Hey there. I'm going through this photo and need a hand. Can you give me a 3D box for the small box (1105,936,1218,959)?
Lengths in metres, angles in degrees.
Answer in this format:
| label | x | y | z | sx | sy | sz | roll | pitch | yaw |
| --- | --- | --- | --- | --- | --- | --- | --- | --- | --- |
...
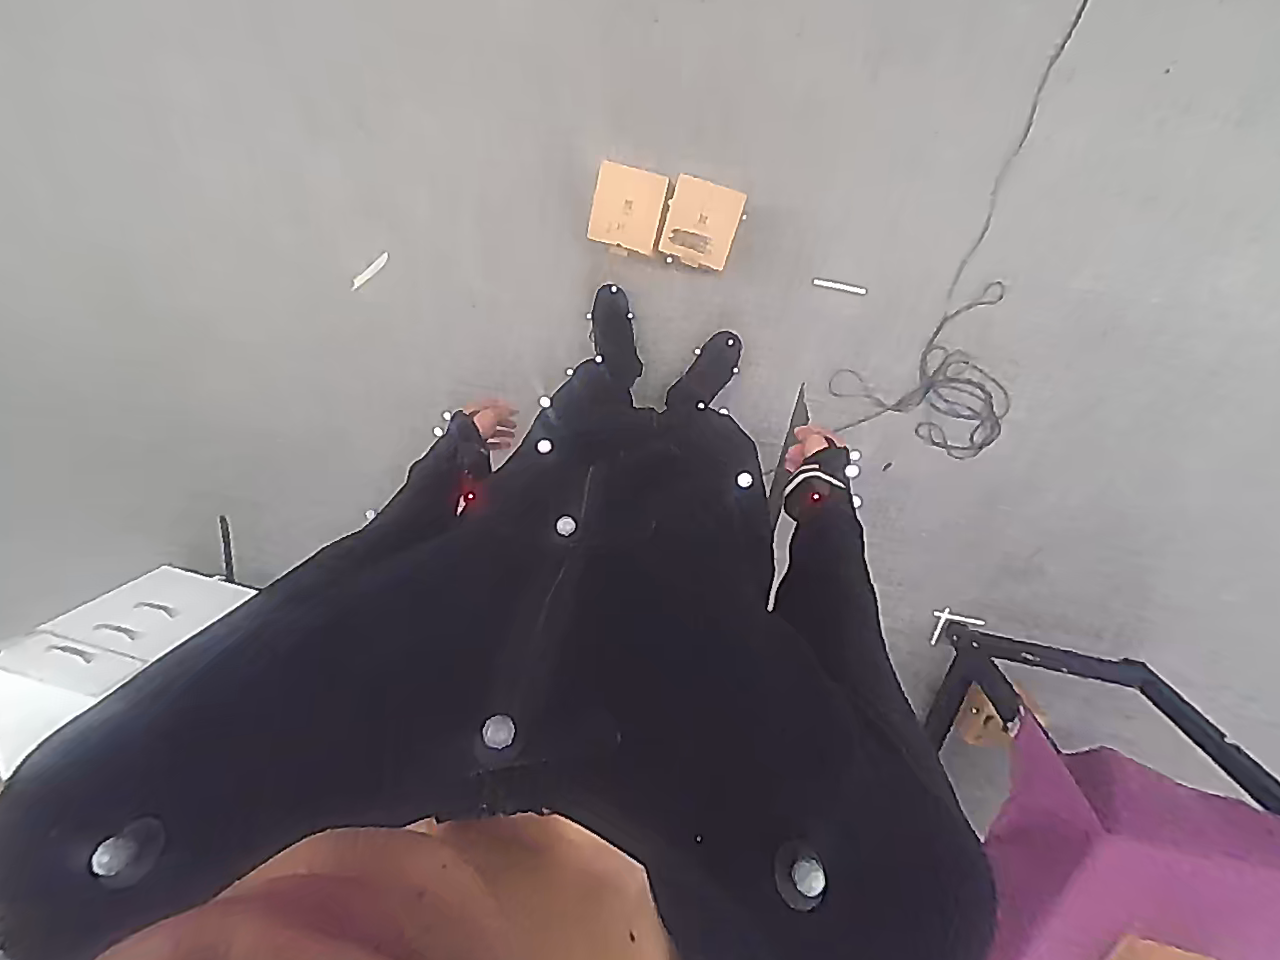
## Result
| label | x | y | z | sx | sy | sz | roll | pitch | yaw |
| --- | --- | --- | --- | --- | --- | --- | --- | --- | --- |
| small box | 1.015 | 1.003 | 1.007 | 0.179 | 0.176 | 0.168 | 12 | 110 | 4 |
